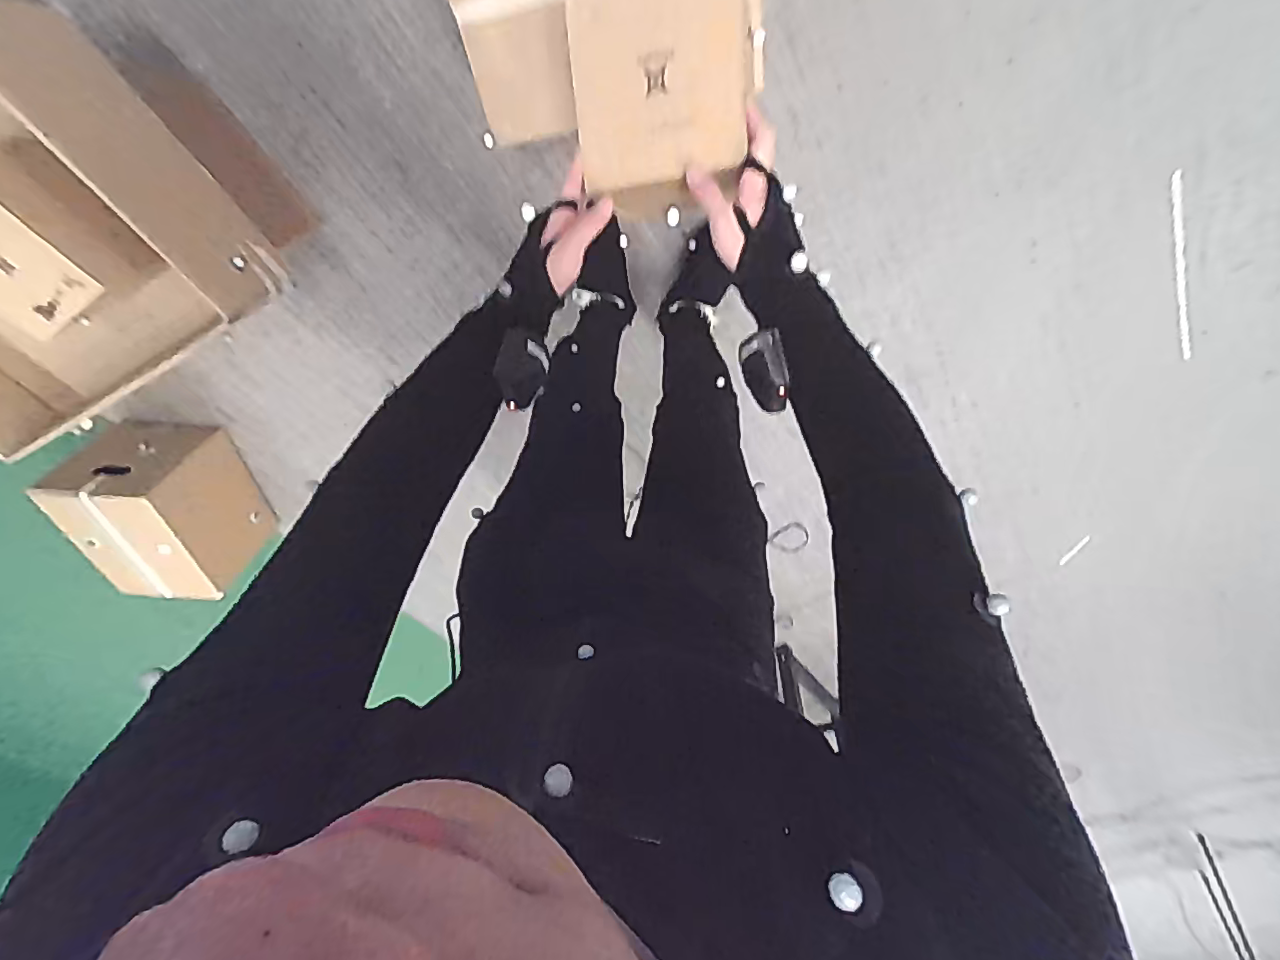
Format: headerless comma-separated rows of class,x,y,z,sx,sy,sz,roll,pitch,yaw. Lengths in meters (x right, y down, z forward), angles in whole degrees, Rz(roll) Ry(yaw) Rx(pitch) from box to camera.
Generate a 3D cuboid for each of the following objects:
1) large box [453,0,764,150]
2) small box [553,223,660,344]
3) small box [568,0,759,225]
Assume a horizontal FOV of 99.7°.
large box,-0.040,-0.736,0.804,0.408,0.320,0.320,-6,130,9
small box,-0.076,-0.431,1.186,0.179,0.176,0.168,33,122,-13
small box,0.037,-0.388,0.574,0.168,0.176,0.179,-1,106,16
